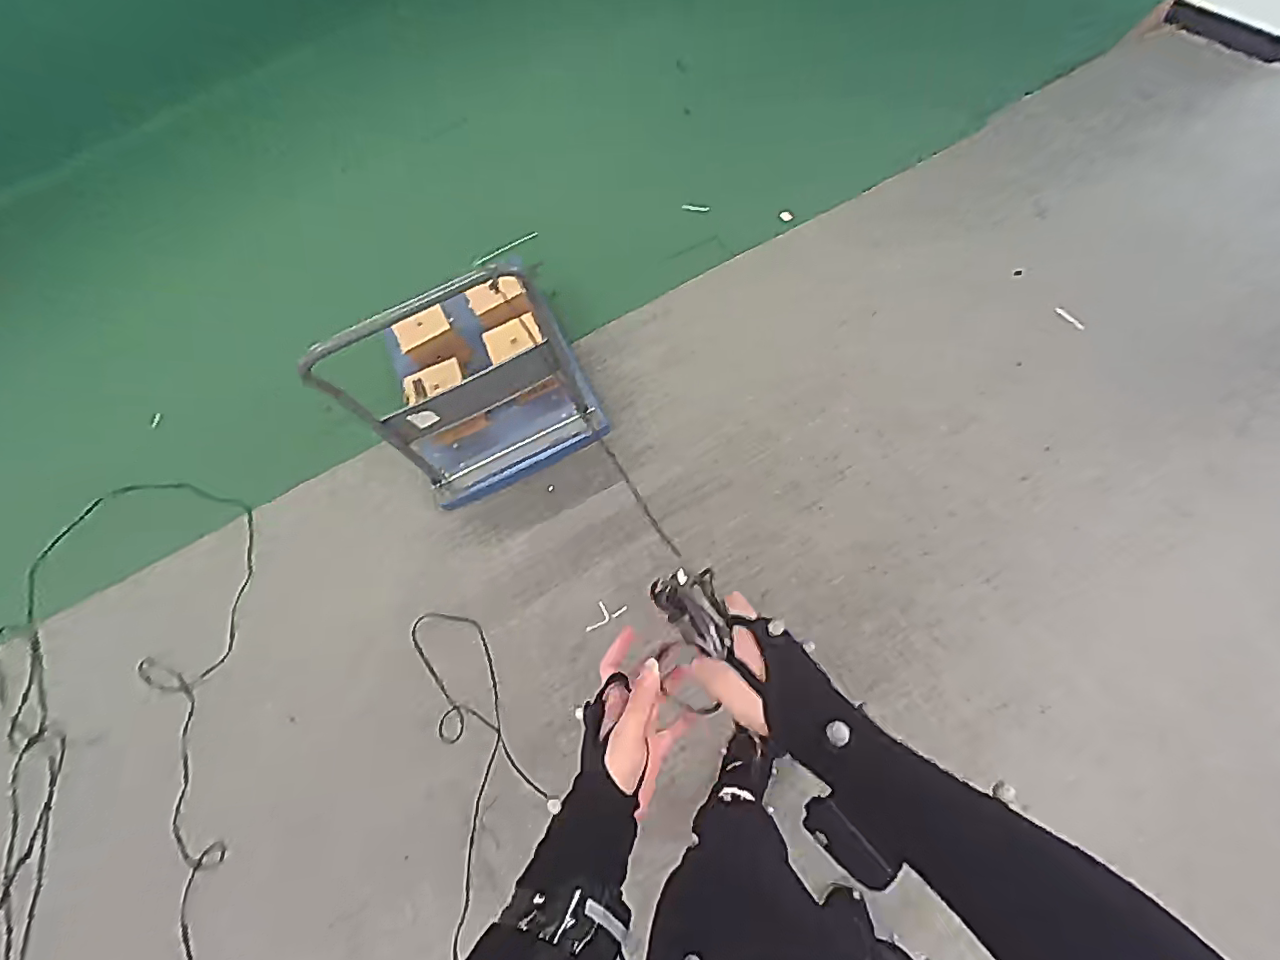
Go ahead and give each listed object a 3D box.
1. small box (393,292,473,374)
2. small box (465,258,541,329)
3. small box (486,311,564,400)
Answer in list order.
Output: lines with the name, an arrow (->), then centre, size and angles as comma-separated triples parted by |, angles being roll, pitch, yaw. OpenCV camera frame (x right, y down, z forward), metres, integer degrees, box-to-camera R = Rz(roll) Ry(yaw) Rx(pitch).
small box -> -0.683, -0.478, 1.799 | 0.168, 0.176, 0.179 | -29, 64, -5
small box -> -0.455, -0.596, 1.812 | 0.168, 0.176, 0.179 | -28, 65, -2
small box -> -0.357, -0.386, 1.697 | 0.168, 0.176, 0.179 | -25, 64, -2
